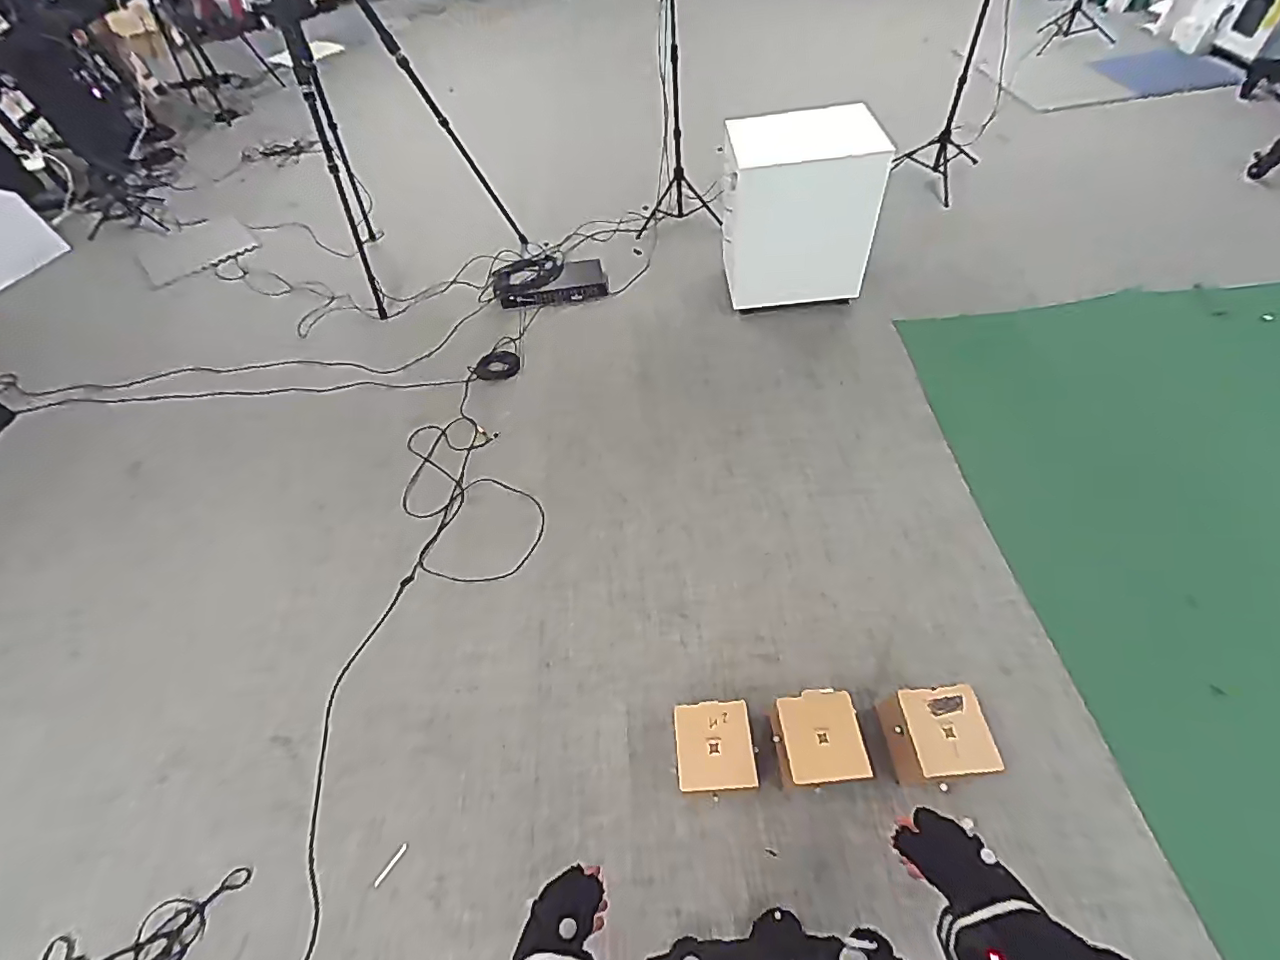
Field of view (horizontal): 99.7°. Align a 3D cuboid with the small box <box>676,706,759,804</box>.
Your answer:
[{"bbox_3d":[0.172,0.630,1.231,0.168,0.176,0.179,-5,53,2],"label":"small box"}]

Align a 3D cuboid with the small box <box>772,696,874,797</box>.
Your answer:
[{"bbox_3d":[0.403,0.607,1.224,0.168,0.176,0.179,-7,52,1],"label":"small box"}]

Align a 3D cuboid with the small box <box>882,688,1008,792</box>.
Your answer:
[{"bbox_3d":[0.665,0.584,1.210,0.168,0.176,0.179,-6,54,2],"label":"small box"}]
